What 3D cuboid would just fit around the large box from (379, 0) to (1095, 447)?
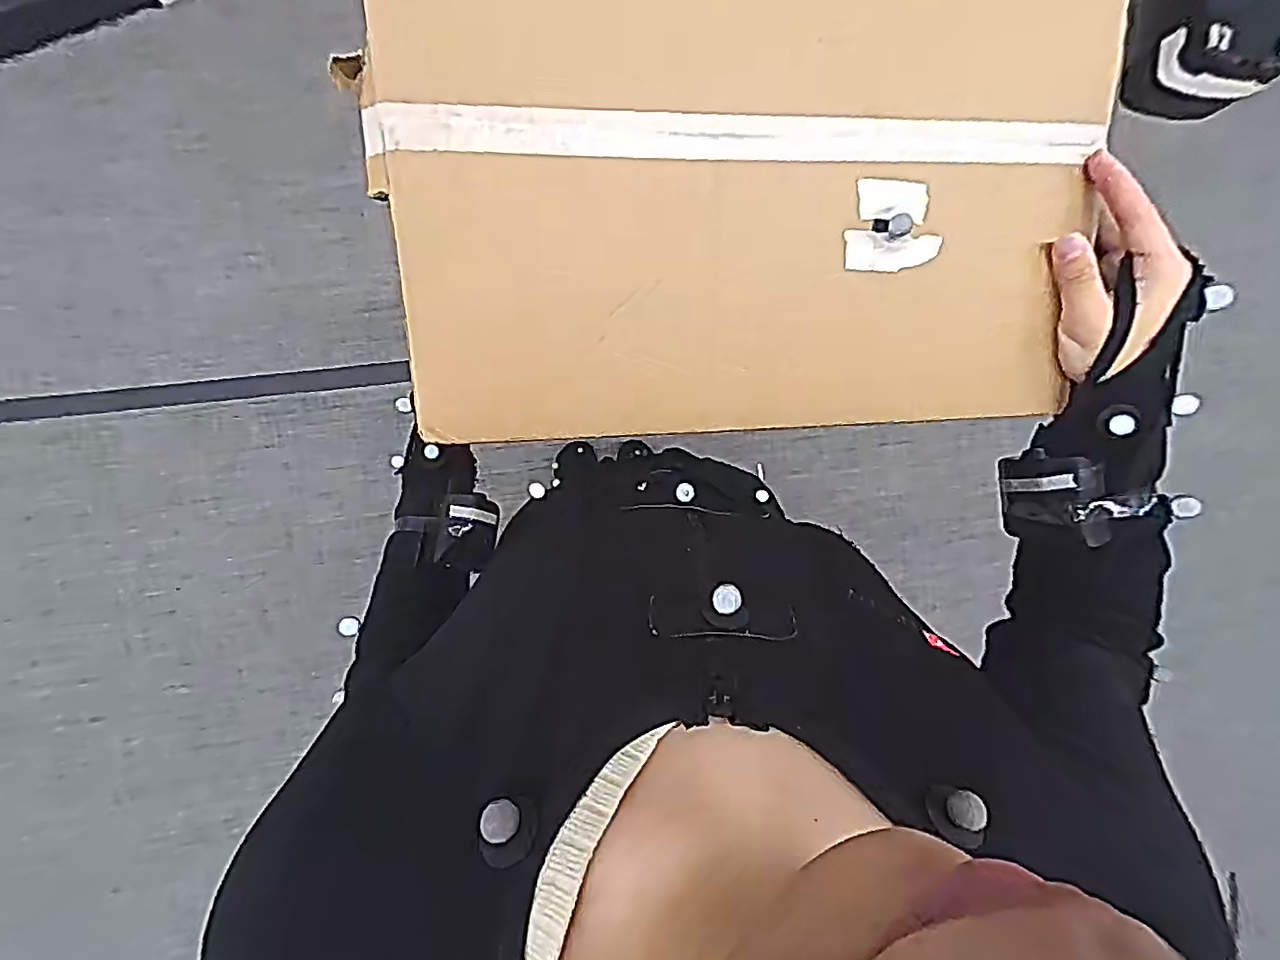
[{"bbox_3d":[0.046,-0.215,0.448,0.408,0.320,0.320,-4,104,-9],"label":"large box"}]
